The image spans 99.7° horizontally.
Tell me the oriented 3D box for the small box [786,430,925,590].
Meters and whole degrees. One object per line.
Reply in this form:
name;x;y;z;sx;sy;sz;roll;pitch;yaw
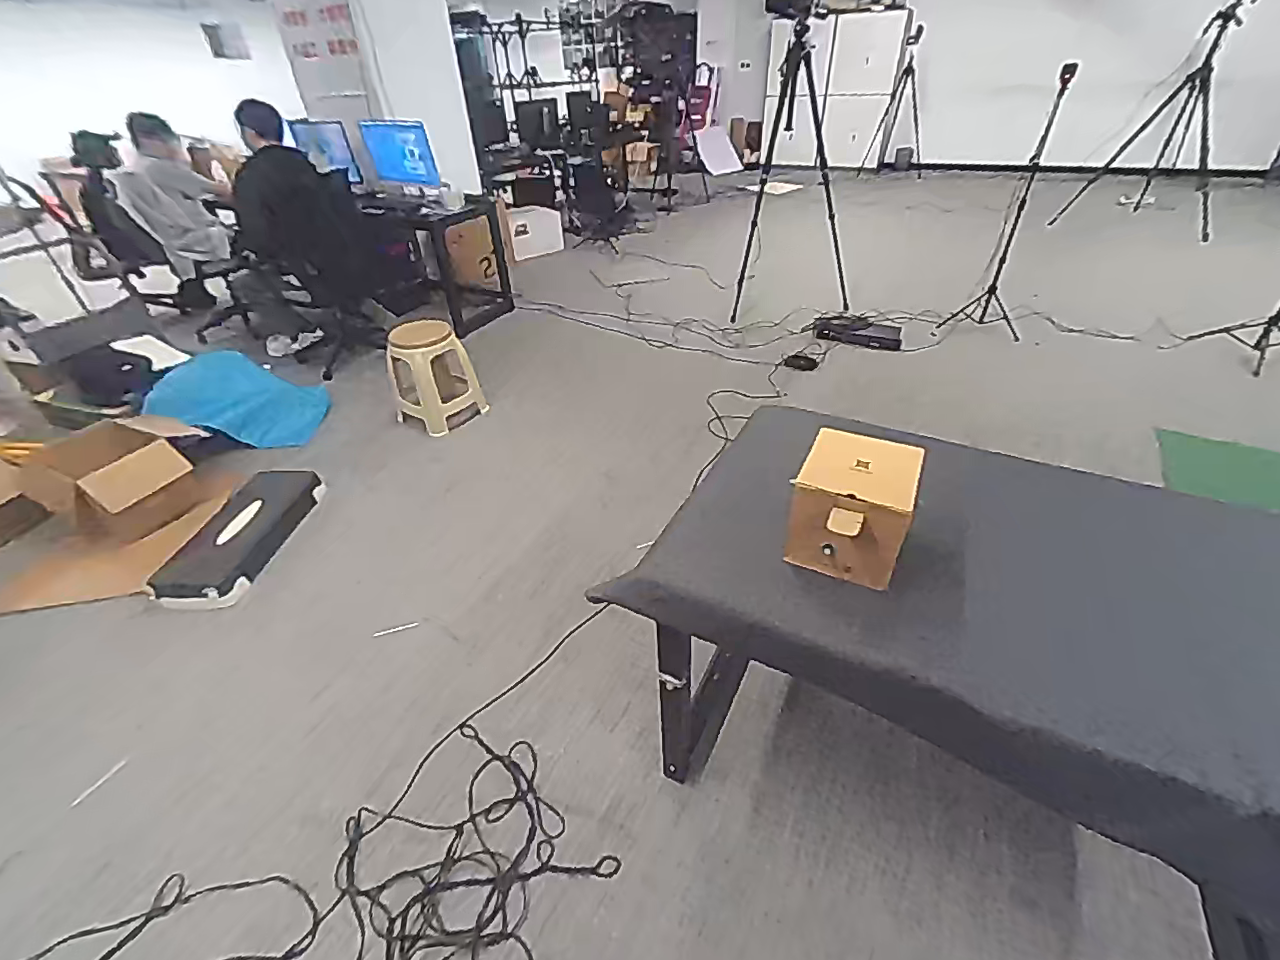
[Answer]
small box;0.349;0.046;0.888;0.168;0.176;0.179;16;41;22
